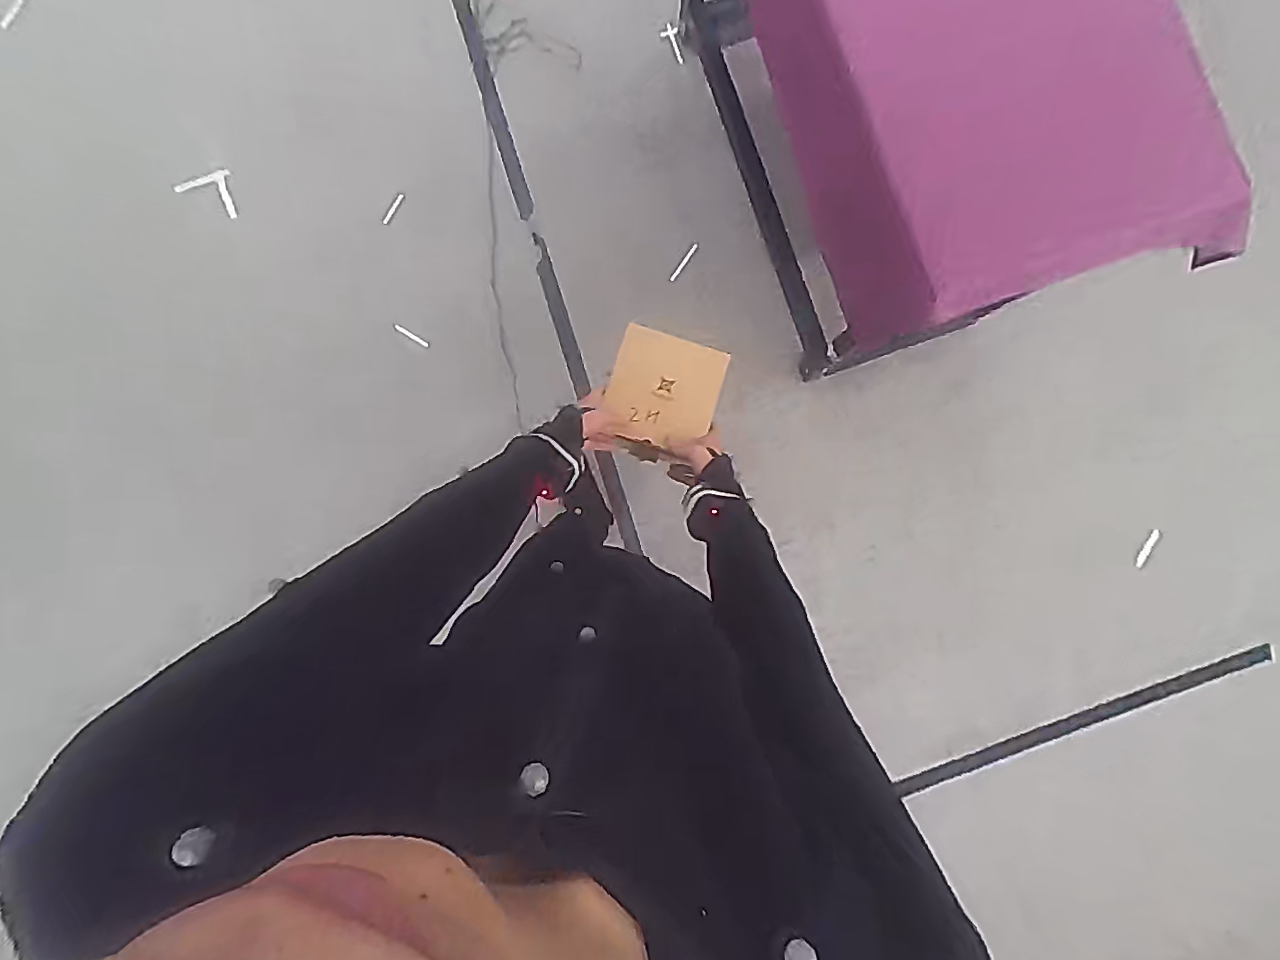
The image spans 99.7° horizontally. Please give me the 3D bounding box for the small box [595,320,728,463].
[{"bbox_3d":[0.031,-0.136,0.901,0.168,0.176,0.179,18,89,0],"label":"small box"}]
